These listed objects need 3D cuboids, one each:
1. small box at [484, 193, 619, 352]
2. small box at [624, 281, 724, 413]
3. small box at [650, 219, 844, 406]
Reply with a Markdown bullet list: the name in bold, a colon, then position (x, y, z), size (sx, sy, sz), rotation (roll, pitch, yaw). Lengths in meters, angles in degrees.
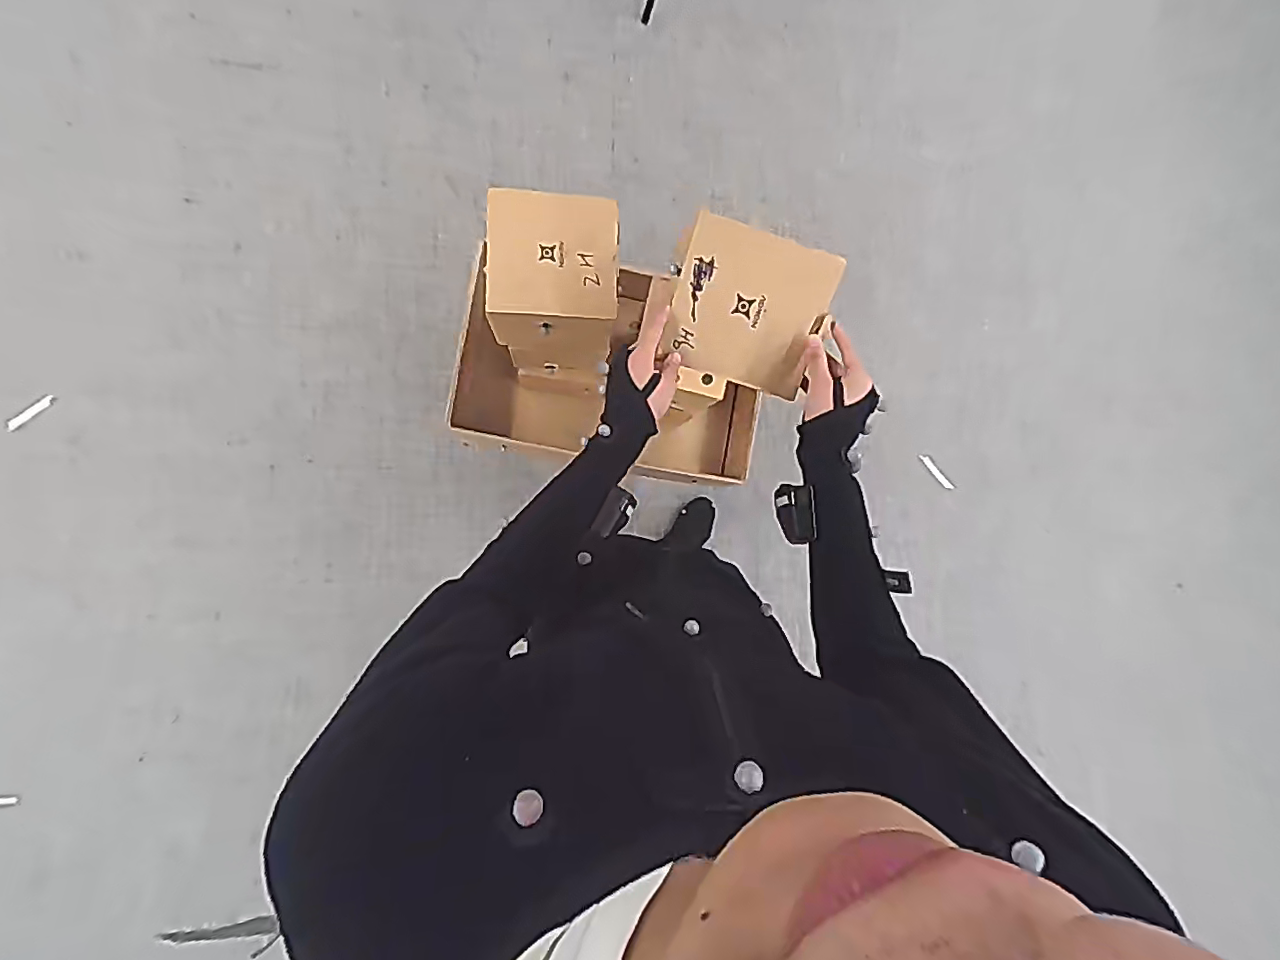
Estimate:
- **small box**: position (-0.127, -0.291, 0.796), size (0.179, 0.176, 0.168), rotation (1, 90, -9)
- **small box**: position (0.070, -0.232, 0.991), size (0.168, 0.176, 0.179), rotation (13, 87, -6)
- **small box**: position (0.120, -0.207, 0.690), size (0.179, 0.176, 0.168), rotation (17, 104, -6)
